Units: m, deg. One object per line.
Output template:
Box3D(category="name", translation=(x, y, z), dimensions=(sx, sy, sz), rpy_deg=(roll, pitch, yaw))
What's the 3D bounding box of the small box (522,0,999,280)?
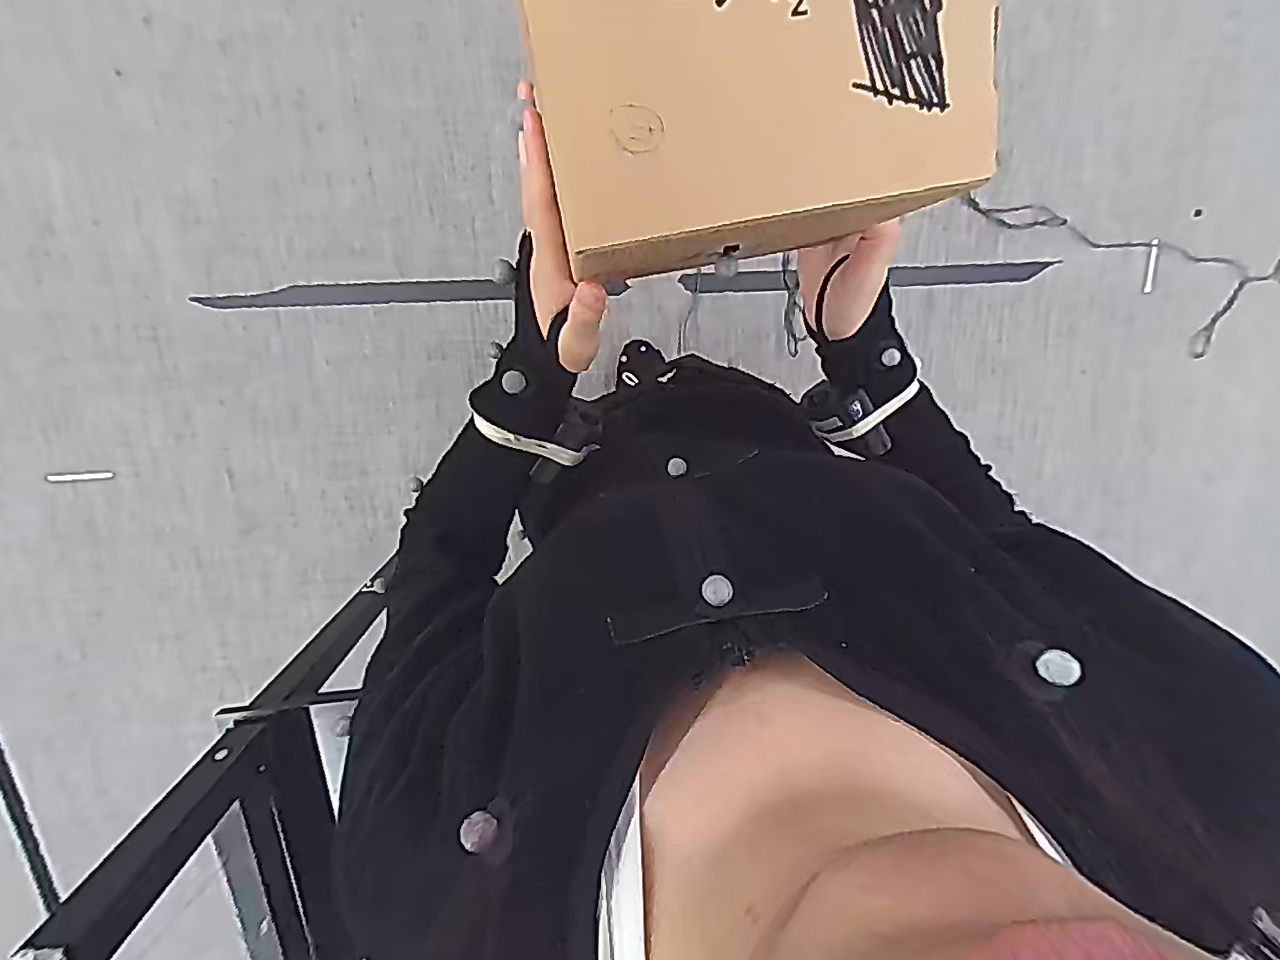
Box3D(category="small box", translation=(0.038, -0.204, 0.268), dimensions=(0.179, 0.176, 0.168), rpy_deg=(-11, 106, -3))
